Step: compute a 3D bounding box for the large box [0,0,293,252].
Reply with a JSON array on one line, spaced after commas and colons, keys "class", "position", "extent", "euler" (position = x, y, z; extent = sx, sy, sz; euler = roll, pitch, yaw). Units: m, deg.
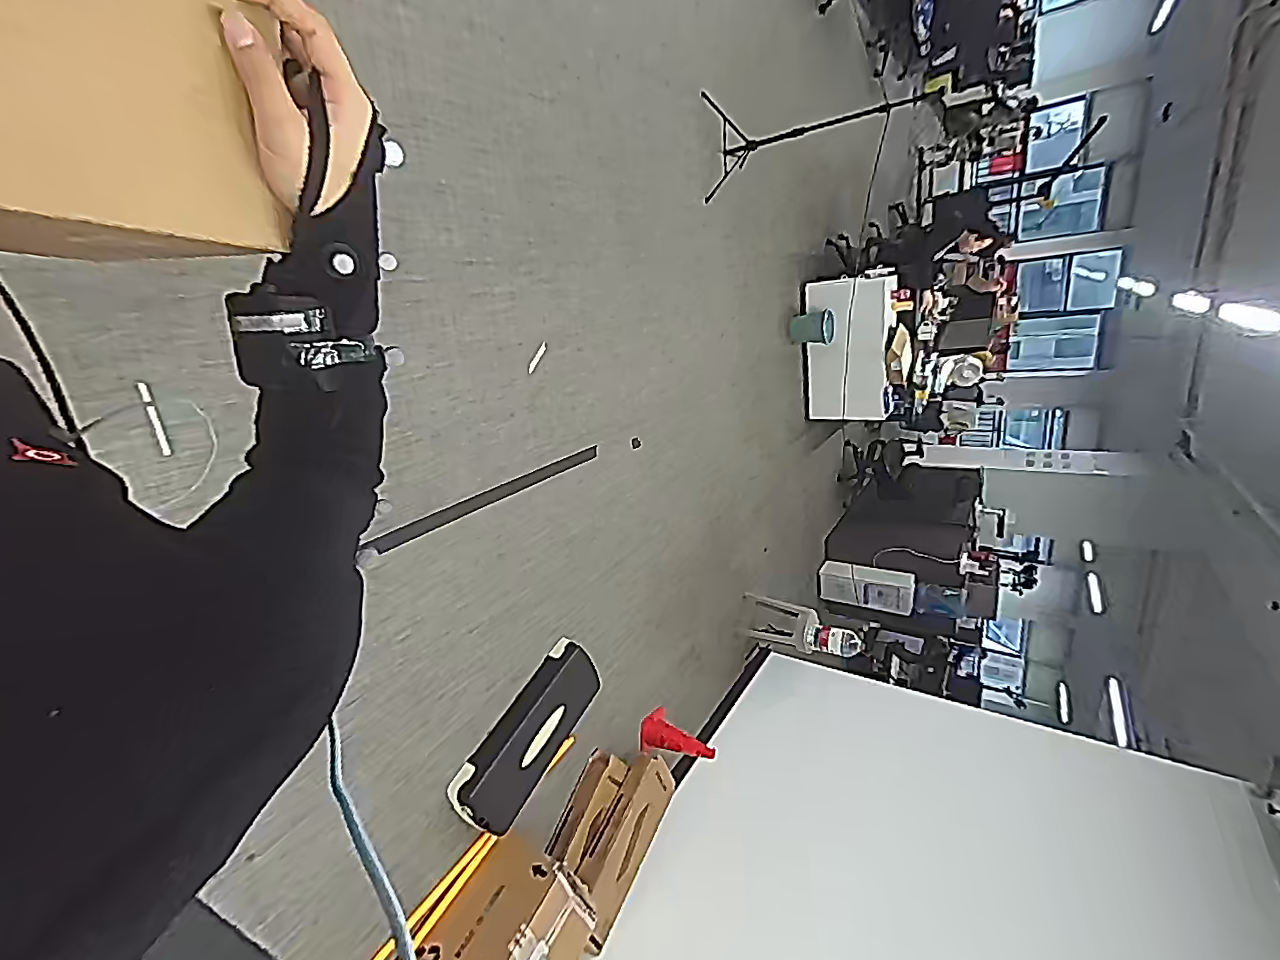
[{"class": "large box", "position": [-0.439, -0.282, 0.207], "extent": [0.408, 0.320, 0.320], "euler": [-21, 120, -58]}]
